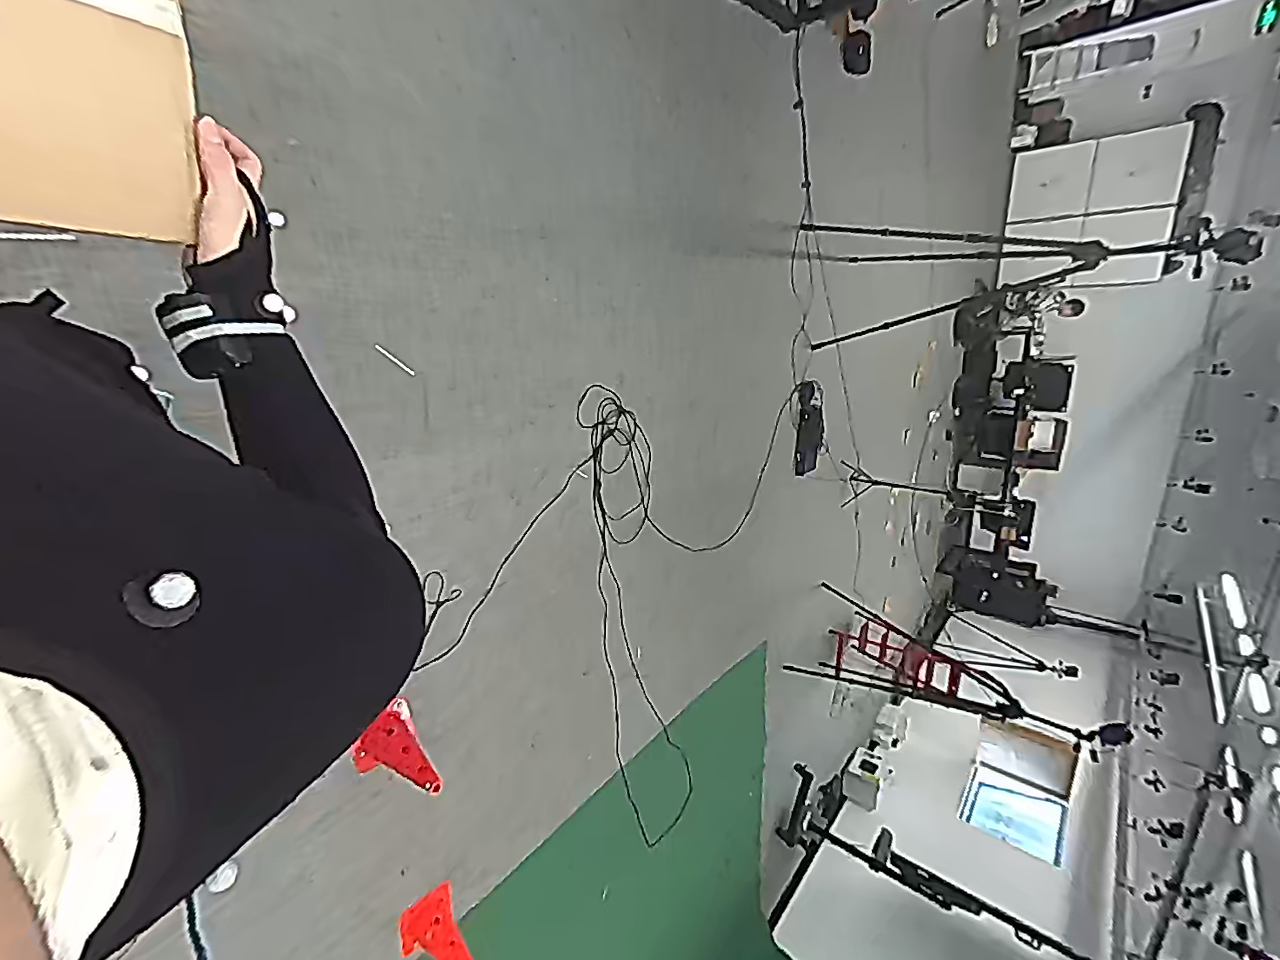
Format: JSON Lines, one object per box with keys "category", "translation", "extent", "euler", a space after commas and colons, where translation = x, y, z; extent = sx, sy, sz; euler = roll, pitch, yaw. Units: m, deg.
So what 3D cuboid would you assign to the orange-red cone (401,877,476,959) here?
{"category": "orange-red cone", "translation": [-0.689, 1.678, 1.962], "extent": [0.199, 0.360, 0.198], "euler": [-12, 109, -49]}
